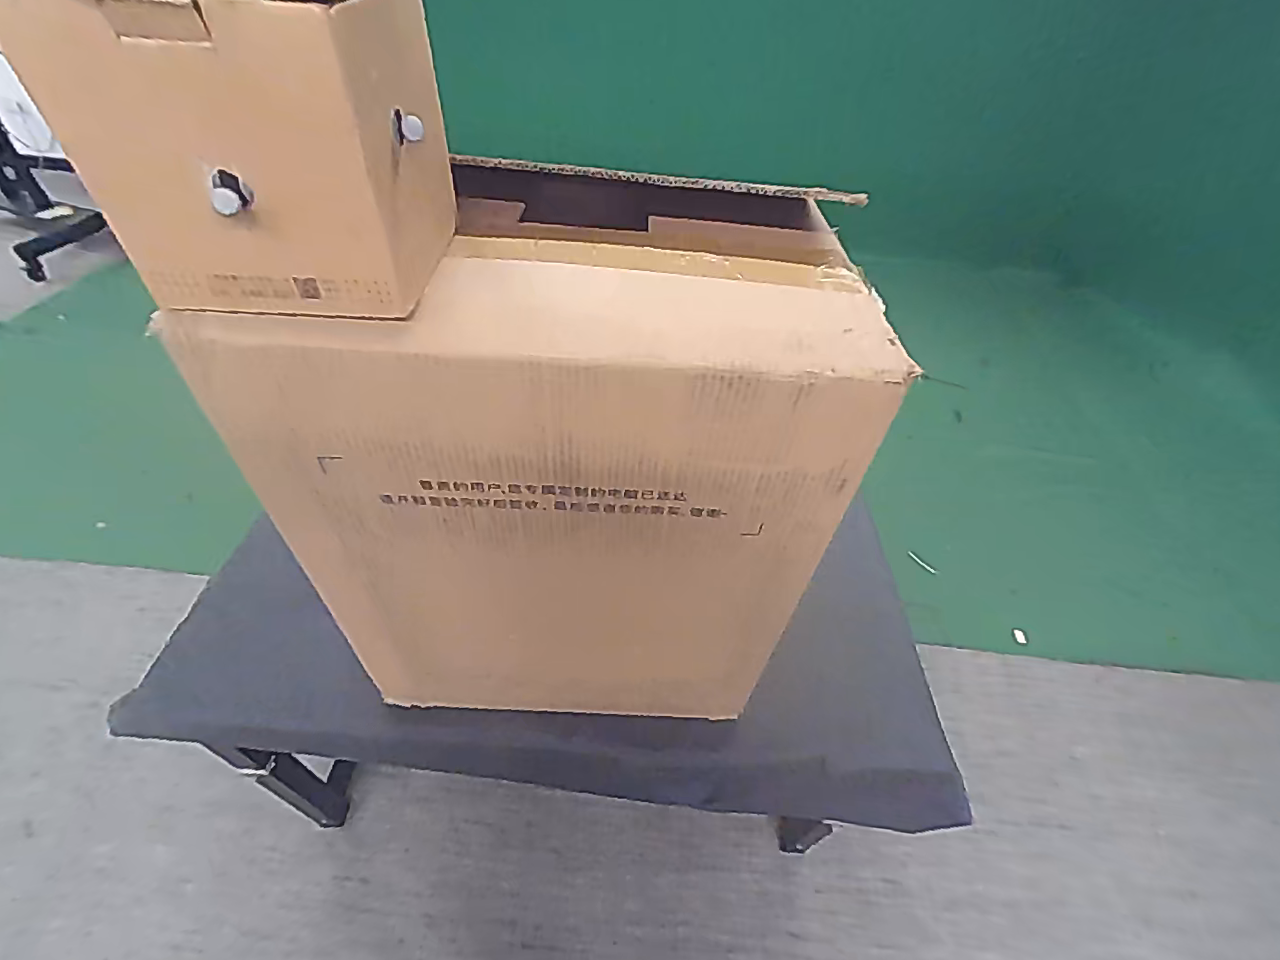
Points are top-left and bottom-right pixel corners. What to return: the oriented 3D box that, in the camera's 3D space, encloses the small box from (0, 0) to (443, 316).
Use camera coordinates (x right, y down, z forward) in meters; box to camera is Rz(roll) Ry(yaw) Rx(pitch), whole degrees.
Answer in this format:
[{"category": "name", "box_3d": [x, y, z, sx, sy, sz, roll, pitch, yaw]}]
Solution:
[{"category": "small box", "box_3d": [-0.246, -0.227, 0.365, 0.168, 0.176, 0.179, 1, 47, -3]}]
